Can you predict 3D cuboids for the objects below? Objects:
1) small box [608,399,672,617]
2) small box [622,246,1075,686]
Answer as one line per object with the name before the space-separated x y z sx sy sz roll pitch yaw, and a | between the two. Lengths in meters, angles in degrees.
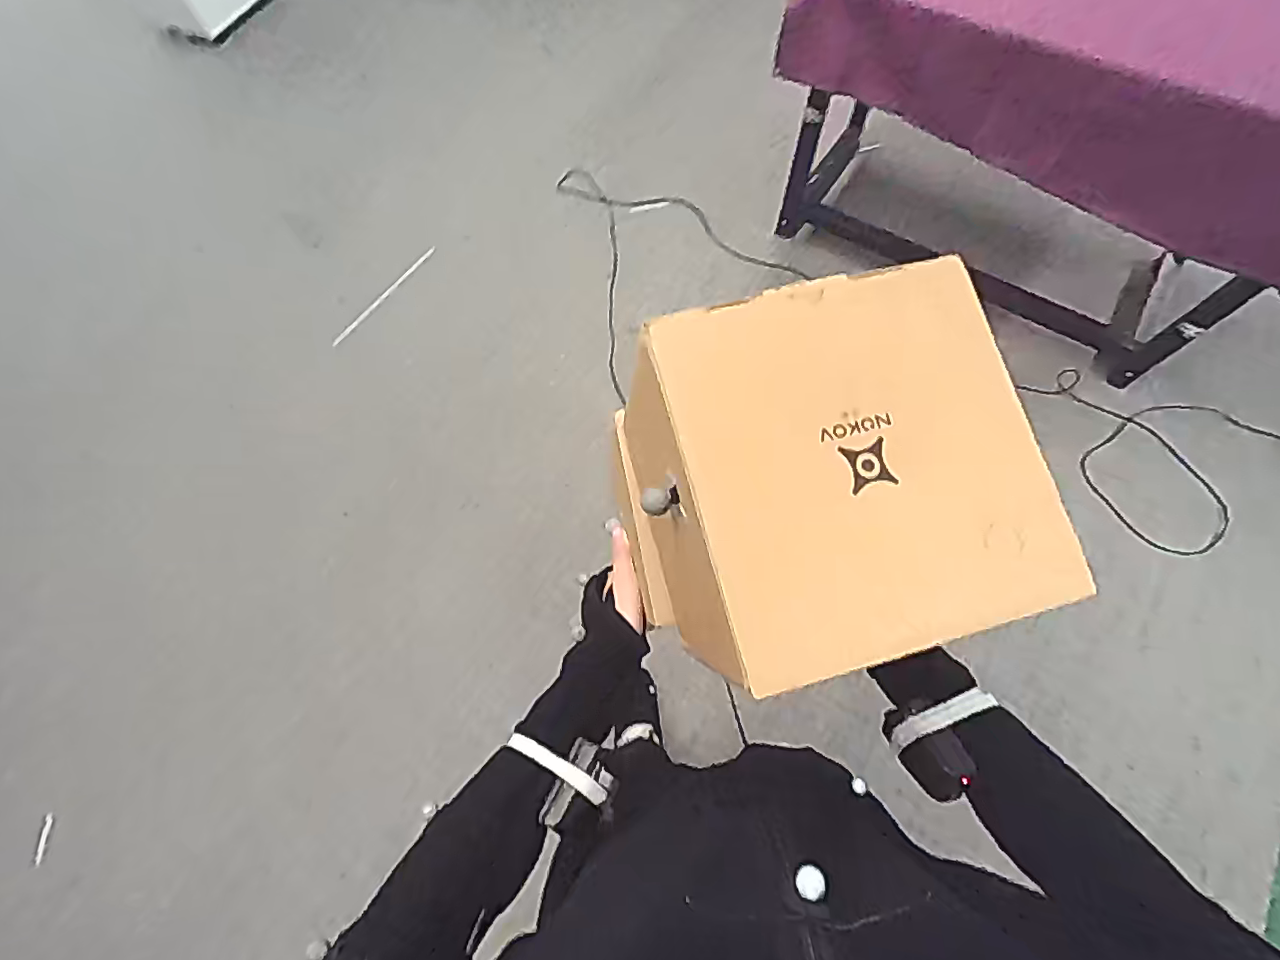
small box | 0.069 0.020 0.483 0.179 0.176 0.168 -10 80 -5
small box | 0.088 0.000 0.322 0.168 0.176 0.179 -14 79 -6
